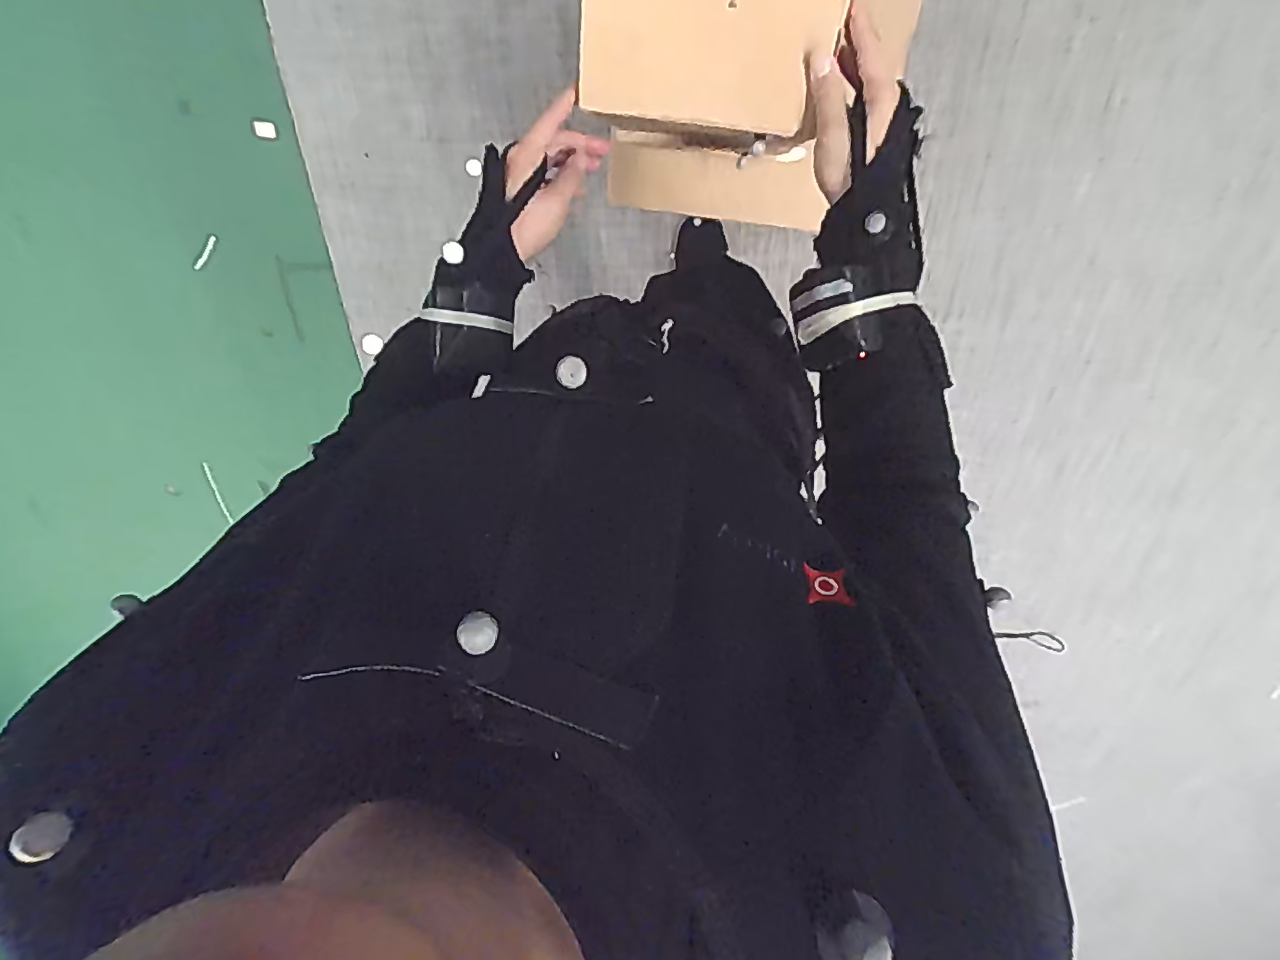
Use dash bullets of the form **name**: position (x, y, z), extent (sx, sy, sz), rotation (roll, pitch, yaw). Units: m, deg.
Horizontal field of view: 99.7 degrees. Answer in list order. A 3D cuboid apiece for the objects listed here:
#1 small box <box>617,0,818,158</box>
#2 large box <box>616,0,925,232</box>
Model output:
- **small box**: position (0.078, -0.434, 0.559), extent (0.179, 0.176, 0.168), rotation (7, 119, 7)
- **large box**: position (0.185, -0.618, 0.908), extent (0.408, 0.320, 0.320), rotation (9, 122, 4)
